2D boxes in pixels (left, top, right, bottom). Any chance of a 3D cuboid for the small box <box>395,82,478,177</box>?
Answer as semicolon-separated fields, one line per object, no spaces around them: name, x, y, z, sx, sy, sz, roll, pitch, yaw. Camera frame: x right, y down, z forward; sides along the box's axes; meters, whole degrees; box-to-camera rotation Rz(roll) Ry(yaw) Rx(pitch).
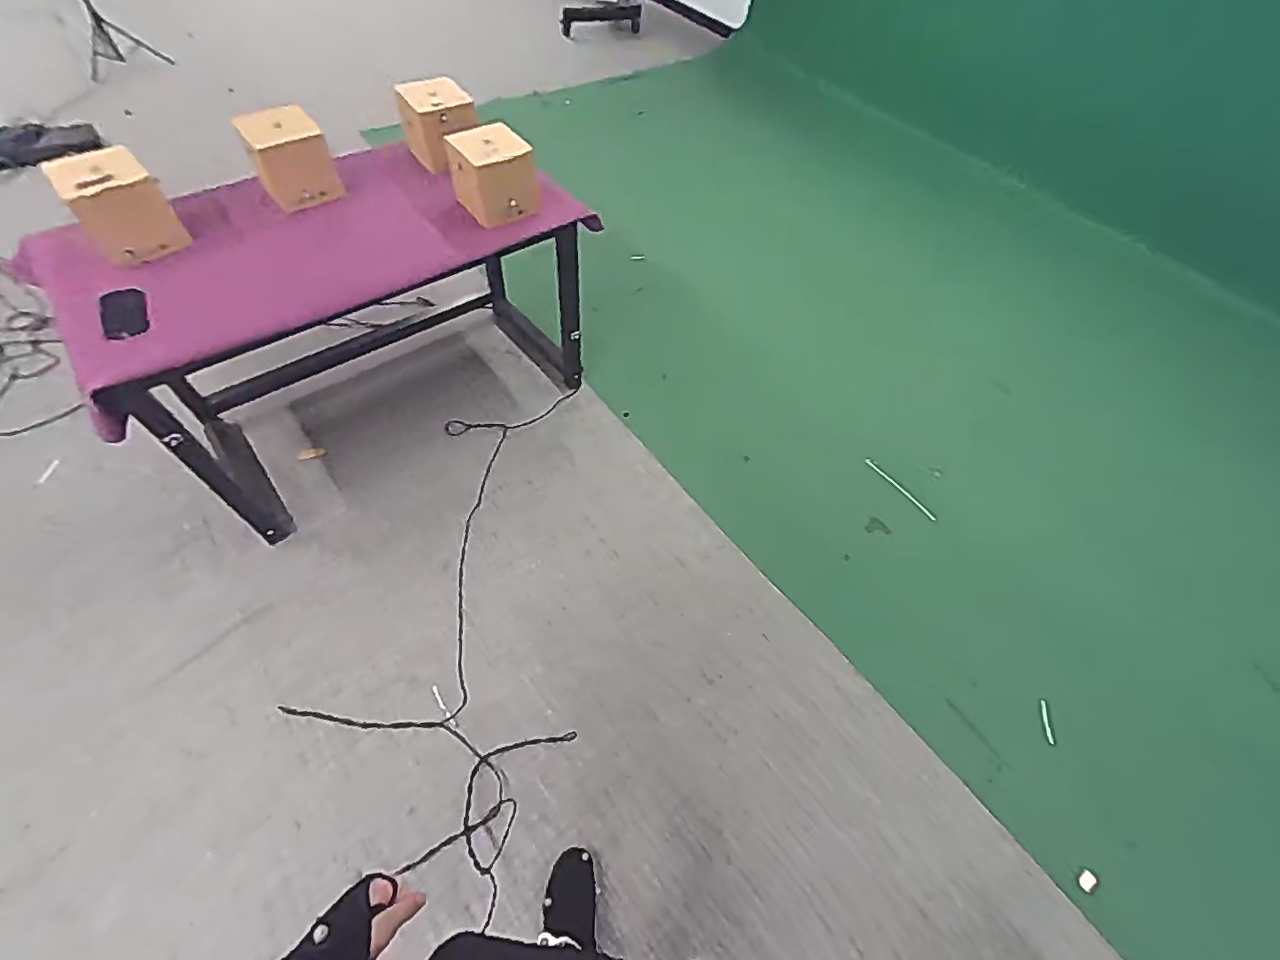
small box;-0.582;-1.020;1.575;0.168;0.176;0.179;-30;63;-22

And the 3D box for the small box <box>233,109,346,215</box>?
small box;-0.914;-0.833;1.421;0.168;0.176;0.179;-33;66;-23

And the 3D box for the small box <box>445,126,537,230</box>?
small box;-0.391;-0.803;1.442;0.168;0.176;0.179;-31;64;-21

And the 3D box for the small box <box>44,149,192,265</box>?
small box;-1.195;-0.624;1.252;0.168;0.176;0.179;-36;65;-26
